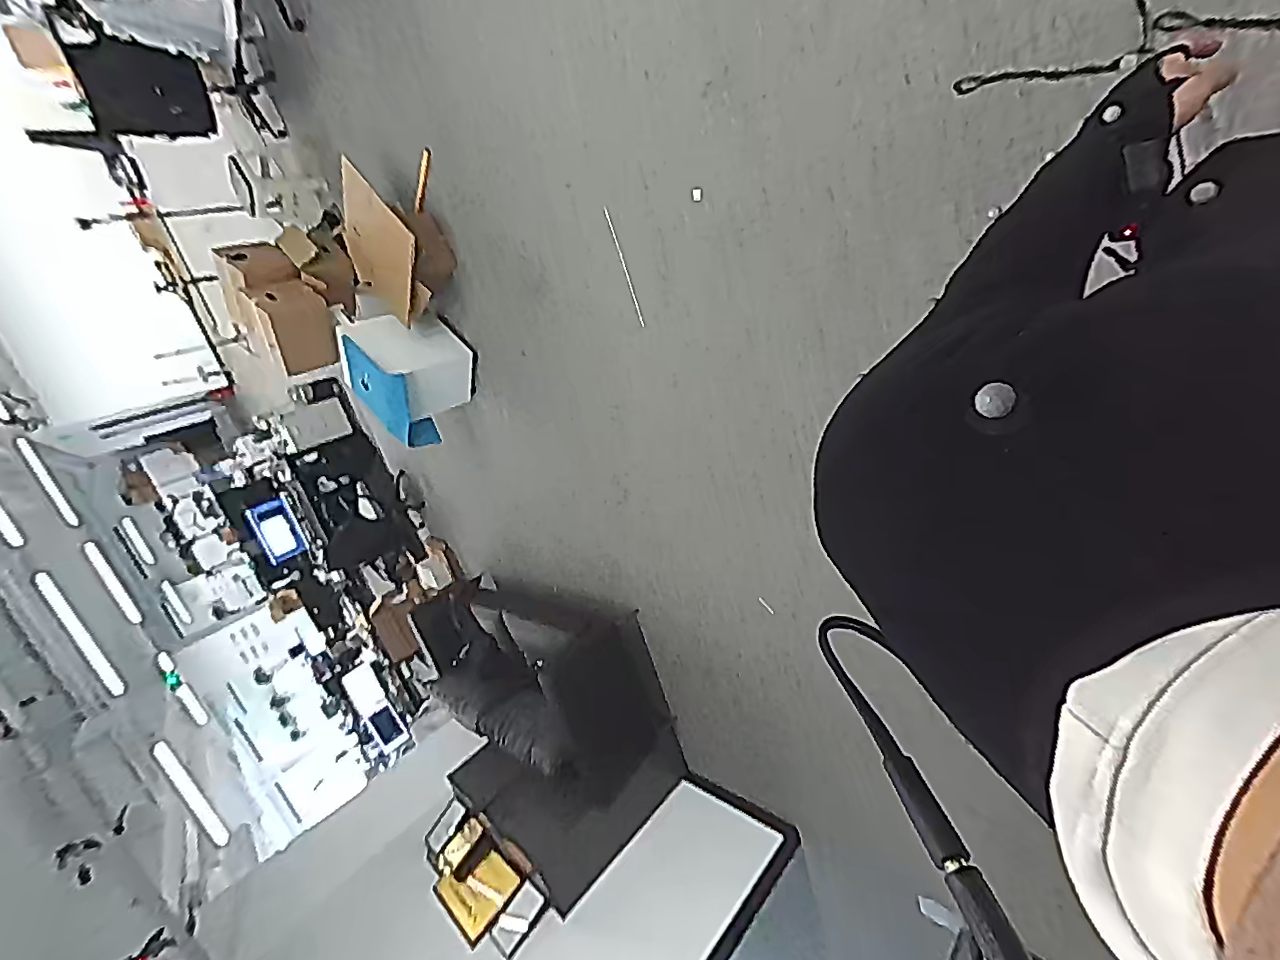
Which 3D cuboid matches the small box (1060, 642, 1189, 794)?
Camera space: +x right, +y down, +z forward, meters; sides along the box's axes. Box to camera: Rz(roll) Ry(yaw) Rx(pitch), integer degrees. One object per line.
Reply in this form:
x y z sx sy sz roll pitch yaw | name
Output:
0.951 0.457 1.063 0.168 0.176 0.179 8 118 46 | small box
